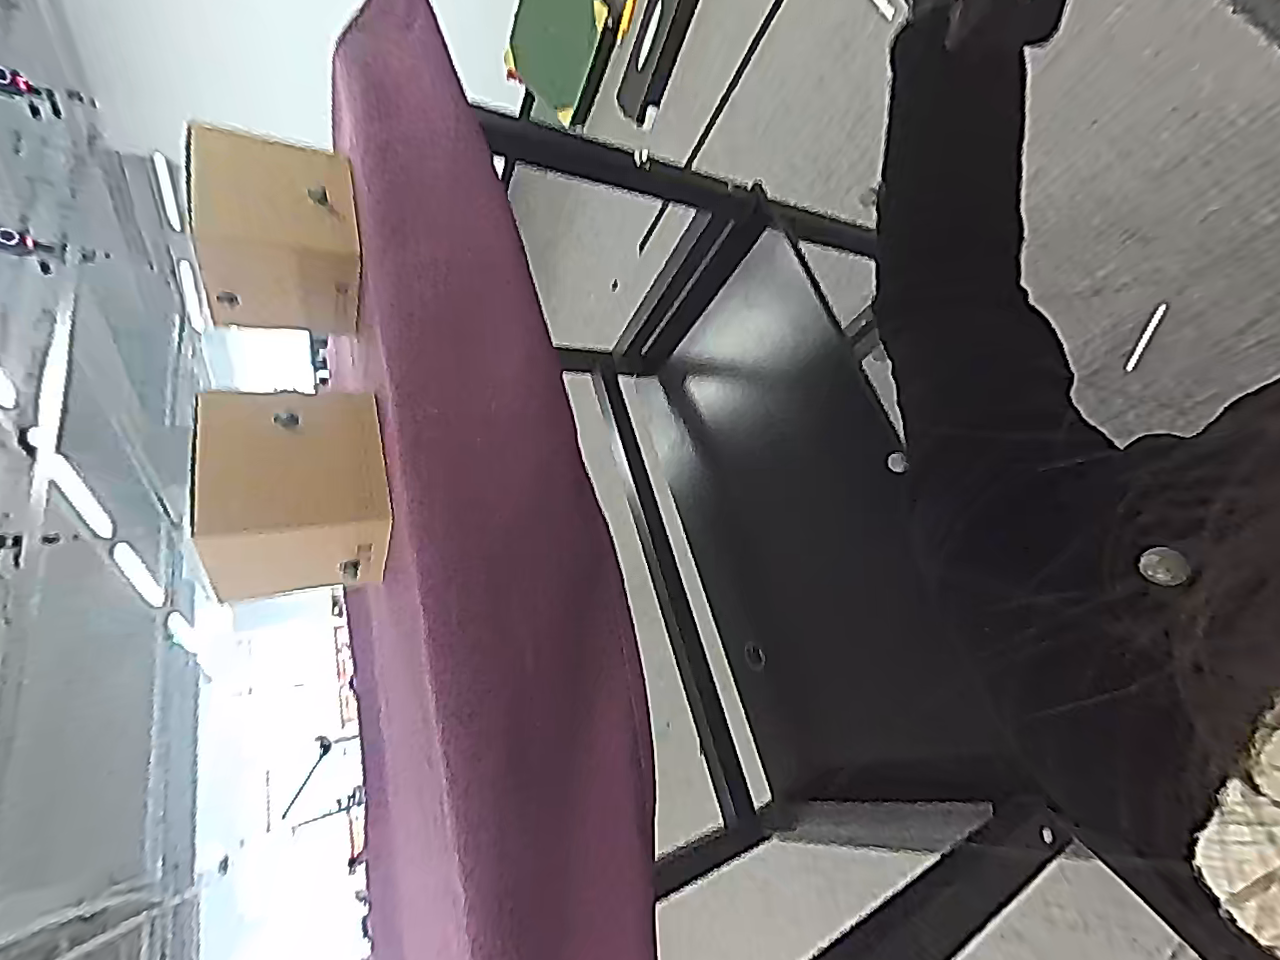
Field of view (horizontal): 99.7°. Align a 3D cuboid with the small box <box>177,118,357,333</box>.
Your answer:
[{"bbox_3d":[-0.470,-0.311,0.698,0.168,0.176,0.179,-41,58,53],"label":"small box"}]

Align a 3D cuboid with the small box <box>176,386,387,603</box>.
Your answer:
[{"bbox_3d":[-0.390,0.017,0.605,0.168,0.176,0.179,-52,50,48],"label":"small box"}]
